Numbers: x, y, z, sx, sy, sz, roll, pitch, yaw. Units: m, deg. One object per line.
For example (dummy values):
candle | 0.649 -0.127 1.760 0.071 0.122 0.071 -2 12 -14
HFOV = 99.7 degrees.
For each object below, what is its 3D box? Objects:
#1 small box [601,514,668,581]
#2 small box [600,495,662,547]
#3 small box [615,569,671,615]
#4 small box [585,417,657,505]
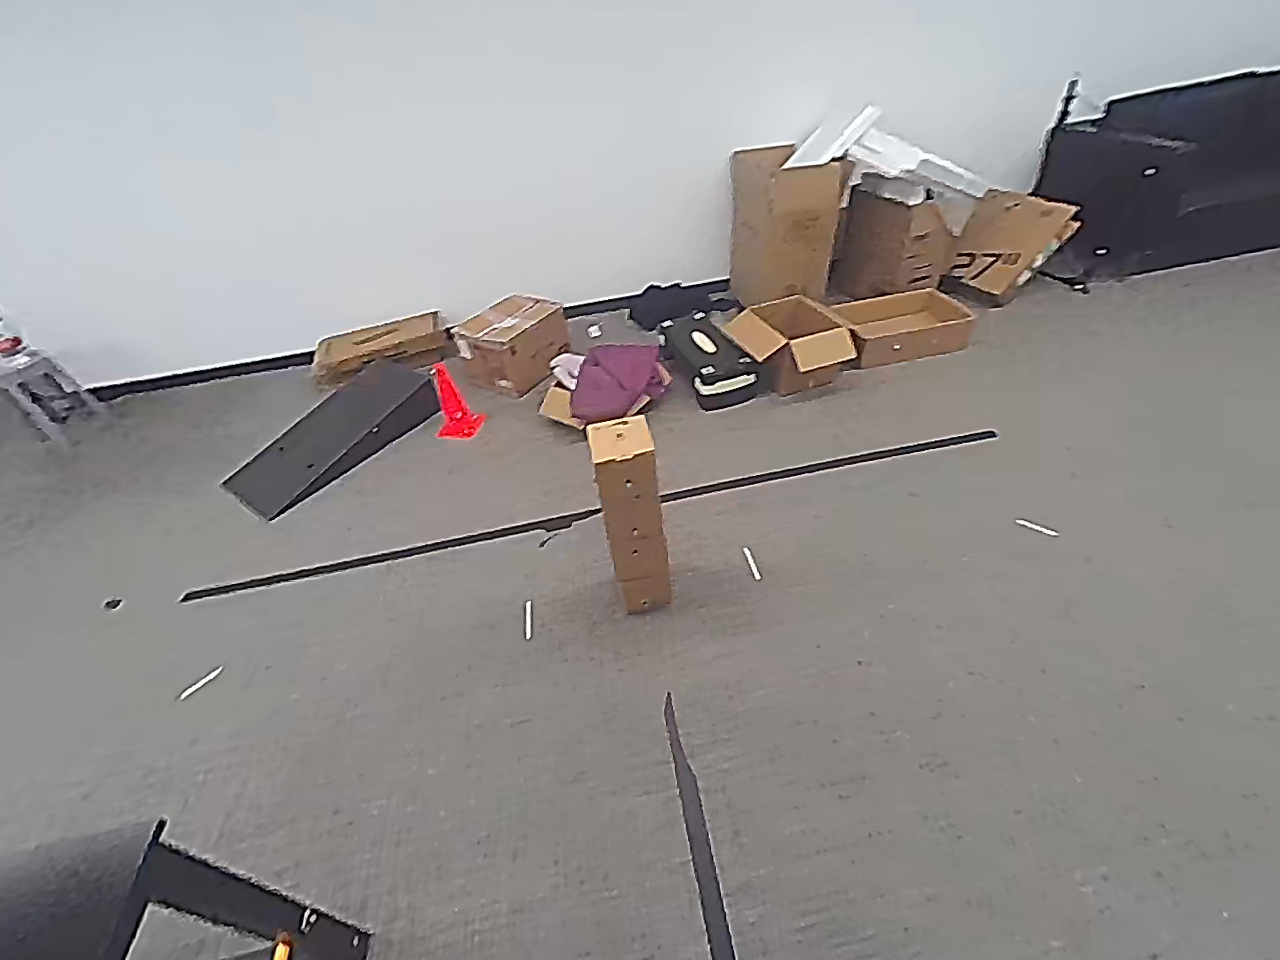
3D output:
small box | -0.016 0.199 1.720 0.179 0.176 0.168 -12 41 -4
small box | -0.031 0.074 1.614 0.168 0.176 0.179 -10 41 -1
small box | 0.001 0.323 1.827 0.168 0.176 0.179 -15 43 -7
small box | -0.051 -0.046 1.505 0.168 0.176 0.179 -12 42 -3
